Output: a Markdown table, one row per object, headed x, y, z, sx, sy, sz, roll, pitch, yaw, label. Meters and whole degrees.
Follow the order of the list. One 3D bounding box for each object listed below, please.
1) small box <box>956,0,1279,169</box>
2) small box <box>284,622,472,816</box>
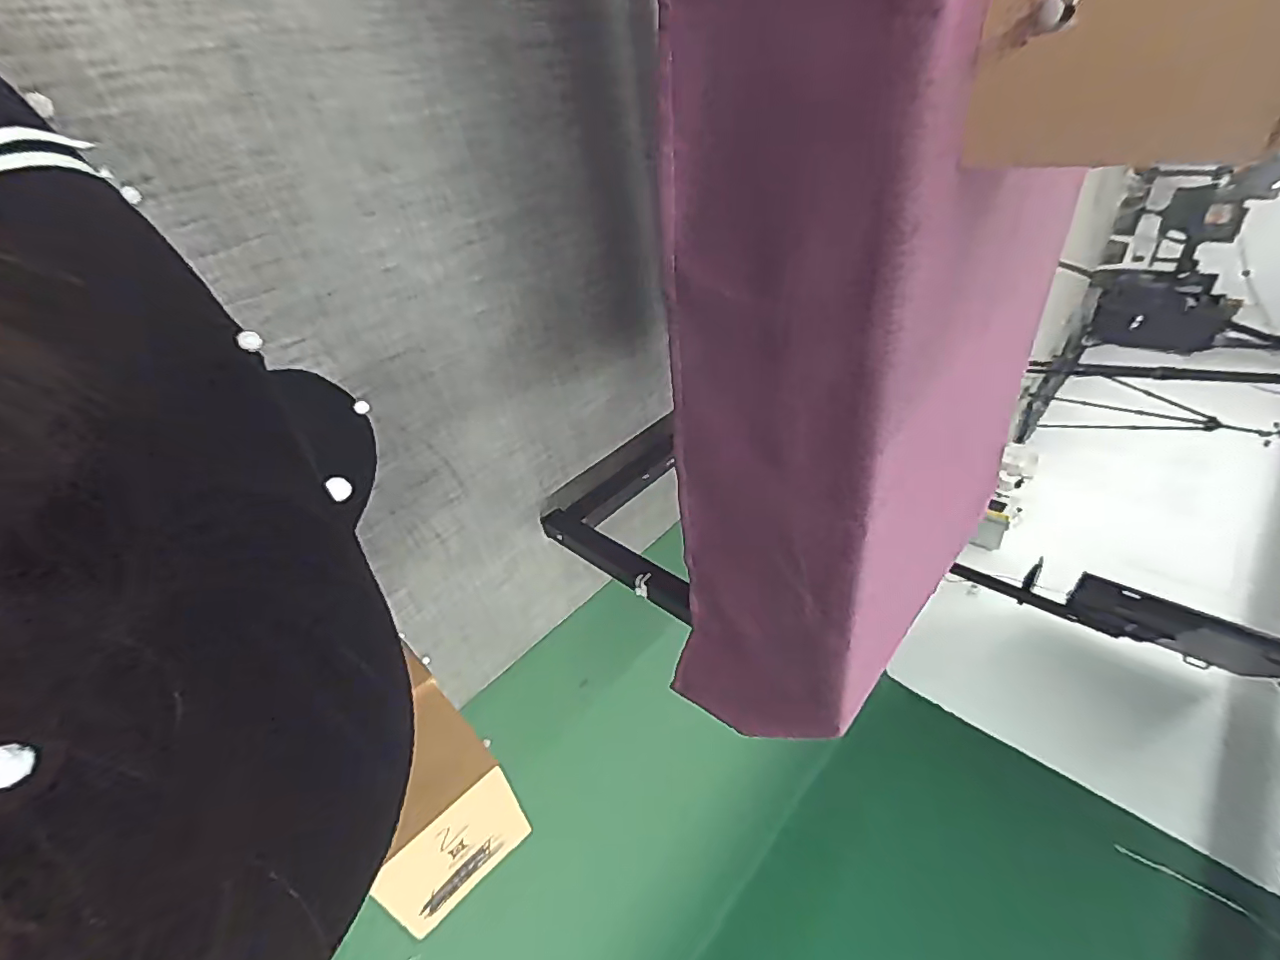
| x | y | z | sx | sy | sz | roll | pitch | yaw | label |
| --- | --- | --- | --- | --- | --- | --- | --- | --- | --- |
| 0.335 | -0.322 | 0.355 | 0.168 | 0.176 | 0.179 | -39 | 136 | -31 | small box |
| -0.385 | 0.338 | 0.800 | 0.168 | 0.176 | 0.179 | -35 | 135 | -32 | small box |
